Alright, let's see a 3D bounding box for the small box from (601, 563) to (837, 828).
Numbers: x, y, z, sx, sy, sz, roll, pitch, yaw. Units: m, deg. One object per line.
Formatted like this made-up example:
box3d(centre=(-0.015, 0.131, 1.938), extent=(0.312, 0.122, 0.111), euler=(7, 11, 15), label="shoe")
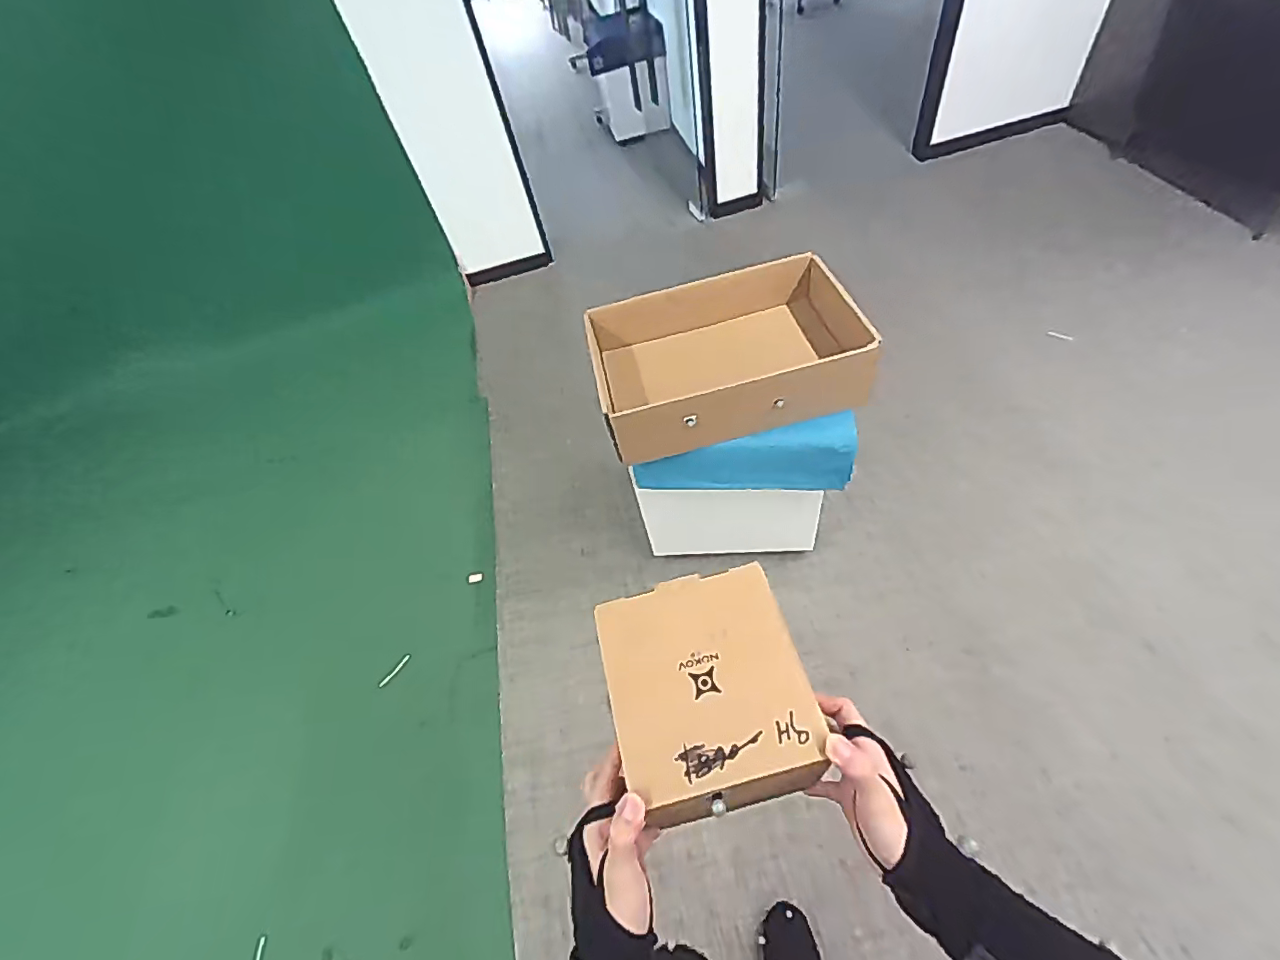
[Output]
box3d(centre=(0.067, 0.211, 0.524), extent=(0.168, 0.176, 0.179), euler=(-15, 51, -1), label="small box")
